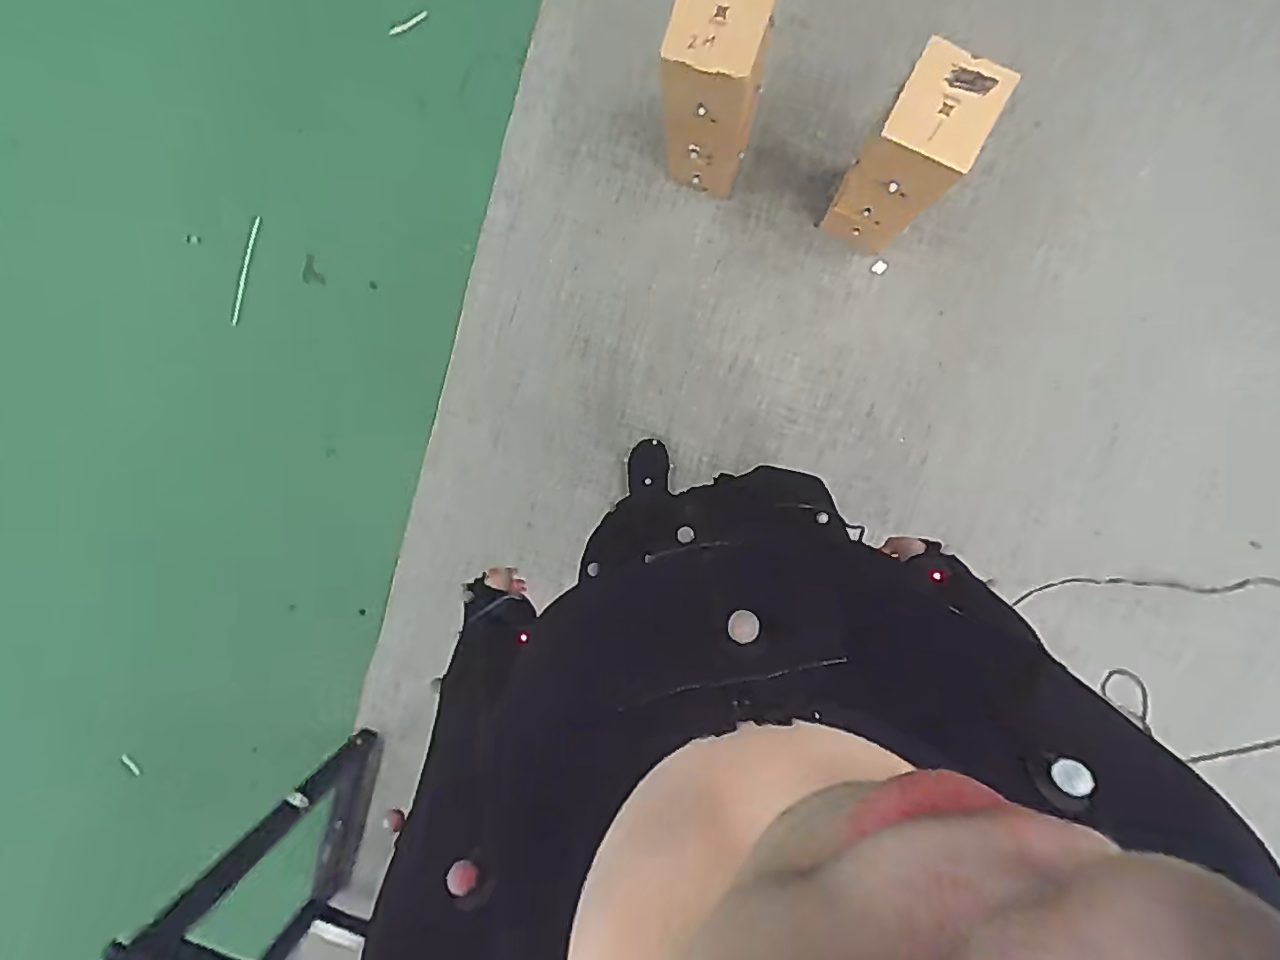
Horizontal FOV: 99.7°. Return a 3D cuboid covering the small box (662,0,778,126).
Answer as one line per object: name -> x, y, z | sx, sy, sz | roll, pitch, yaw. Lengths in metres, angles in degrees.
small box -> 0.149, -0.815, 1.014 | 0.168, 0.176, 0.179 | 19, 97, 5

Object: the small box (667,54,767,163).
small box -> 0.164, -0.836, 1.177 | 0.168, 0.176, 0.179 | 19, 99, 5

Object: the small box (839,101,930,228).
small box -> 0.551, -0.677, 1.155 | 0.168, 0.176, 0.179 | 25, 99, 3

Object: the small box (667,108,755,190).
small box -> 0.178, -0.855, 1.338 | 0.168, 0.176, 0.179 | 22, 98, 3

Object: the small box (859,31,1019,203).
small box -> 0.531, -0.652, 0.994 | 0.168, 0.176, 0.179 | 27, 100, 2
